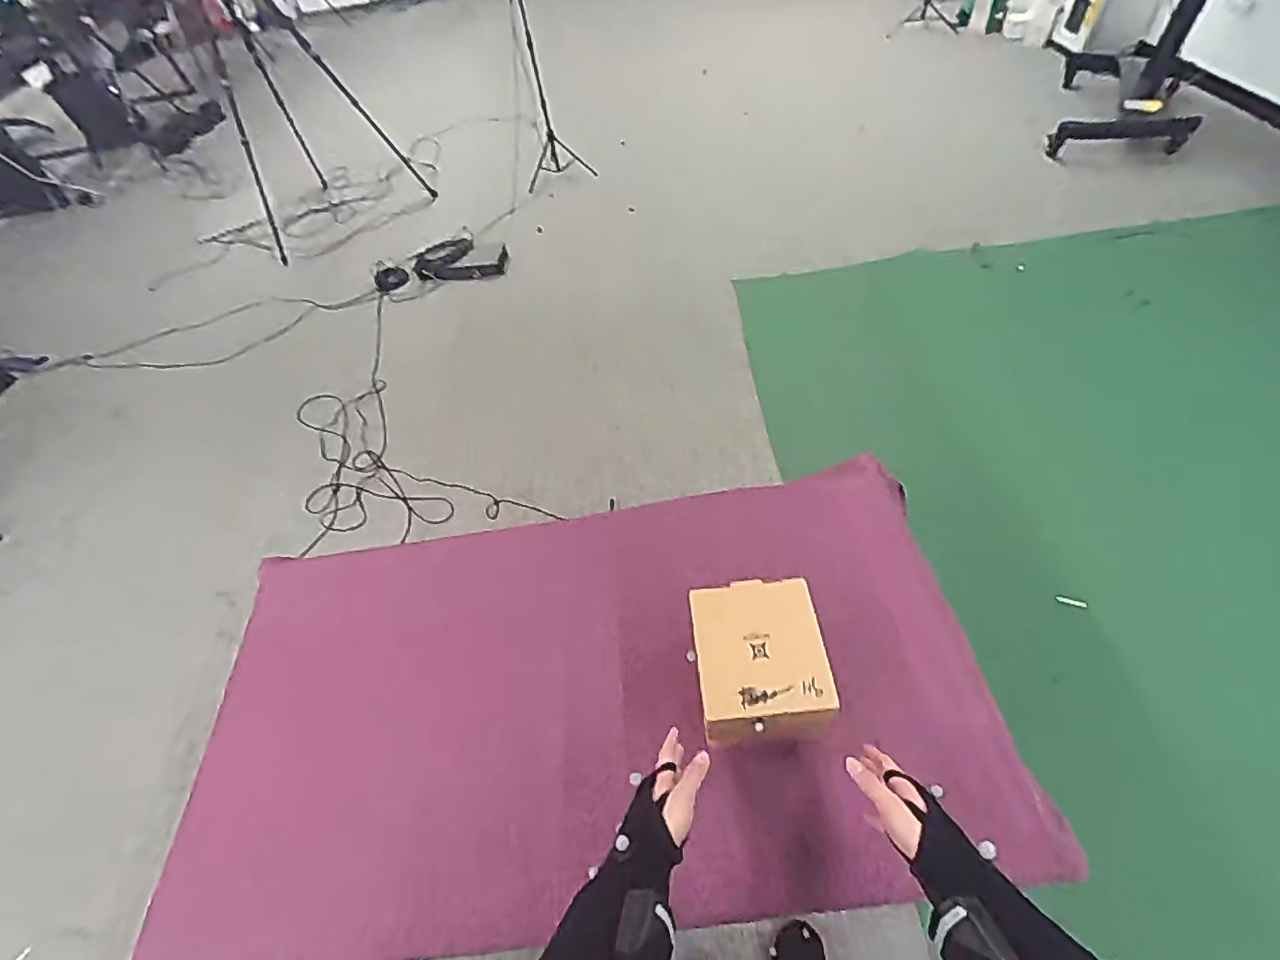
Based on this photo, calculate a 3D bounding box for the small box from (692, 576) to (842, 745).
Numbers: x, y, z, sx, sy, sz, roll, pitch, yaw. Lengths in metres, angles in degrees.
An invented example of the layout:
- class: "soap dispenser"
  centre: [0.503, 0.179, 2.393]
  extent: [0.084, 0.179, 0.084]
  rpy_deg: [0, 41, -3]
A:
- class: "small box"
  centre: [0.165, 0.257, 0.762]
  extent: [0.168, 0.176, 0.179]
  rpy_deg: [-7, 53, 4]
